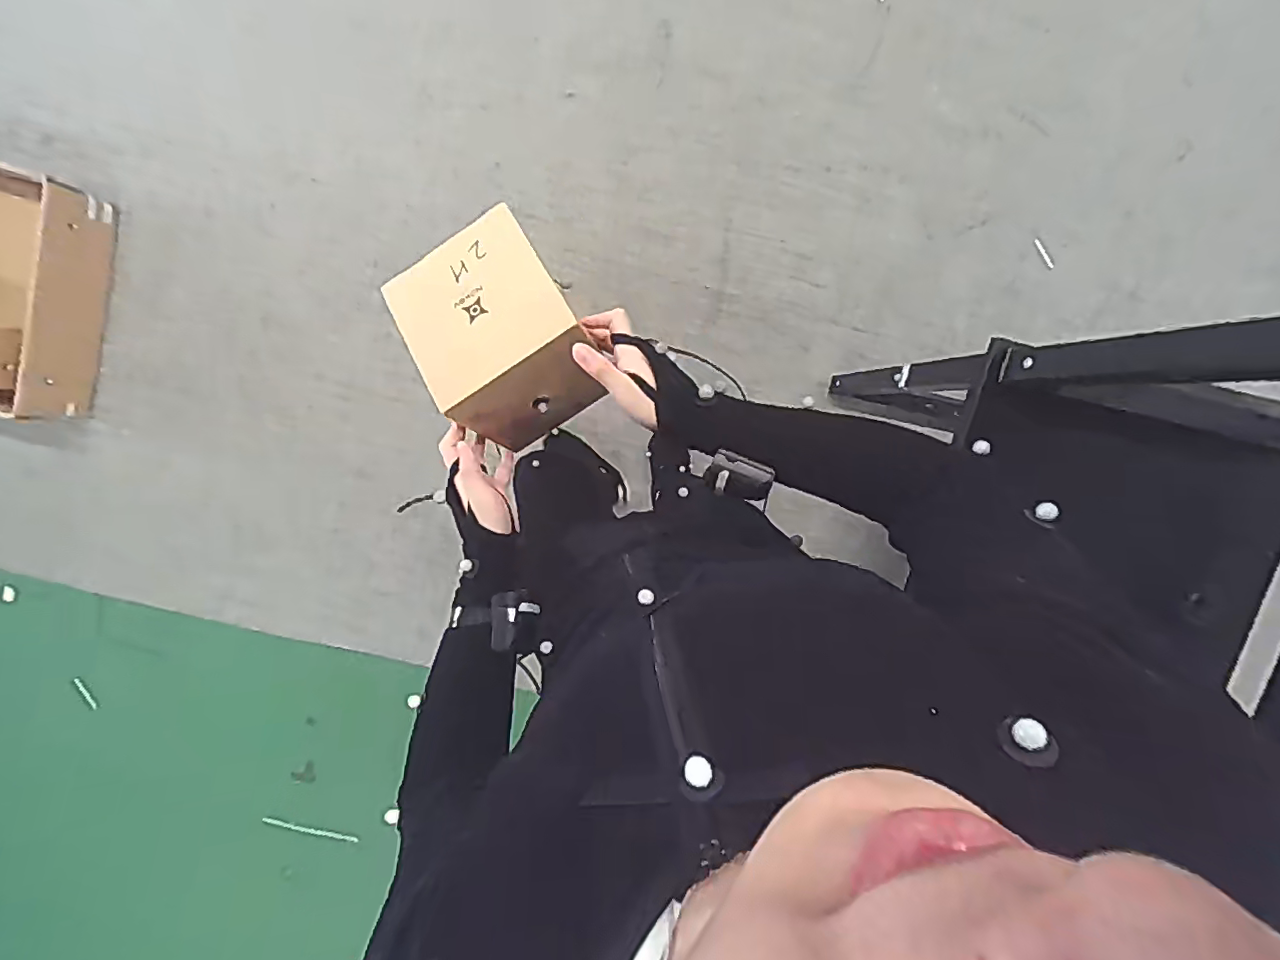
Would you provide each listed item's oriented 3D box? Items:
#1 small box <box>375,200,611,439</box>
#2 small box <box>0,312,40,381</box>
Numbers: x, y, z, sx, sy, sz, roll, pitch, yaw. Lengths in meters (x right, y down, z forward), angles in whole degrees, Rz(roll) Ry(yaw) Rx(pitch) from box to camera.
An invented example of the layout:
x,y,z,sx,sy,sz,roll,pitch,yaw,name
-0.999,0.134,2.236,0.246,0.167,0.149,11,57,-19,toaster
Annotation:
x,y,z,sx,sy,sz,roll,pitch,yaw,name
-0.155,-0.164,0.619,0.168,0.176,0.179,-32,74,5,small box
-1.726,-0.359,1.396,0.179,0.176,0.168,17,98,-2,small box
